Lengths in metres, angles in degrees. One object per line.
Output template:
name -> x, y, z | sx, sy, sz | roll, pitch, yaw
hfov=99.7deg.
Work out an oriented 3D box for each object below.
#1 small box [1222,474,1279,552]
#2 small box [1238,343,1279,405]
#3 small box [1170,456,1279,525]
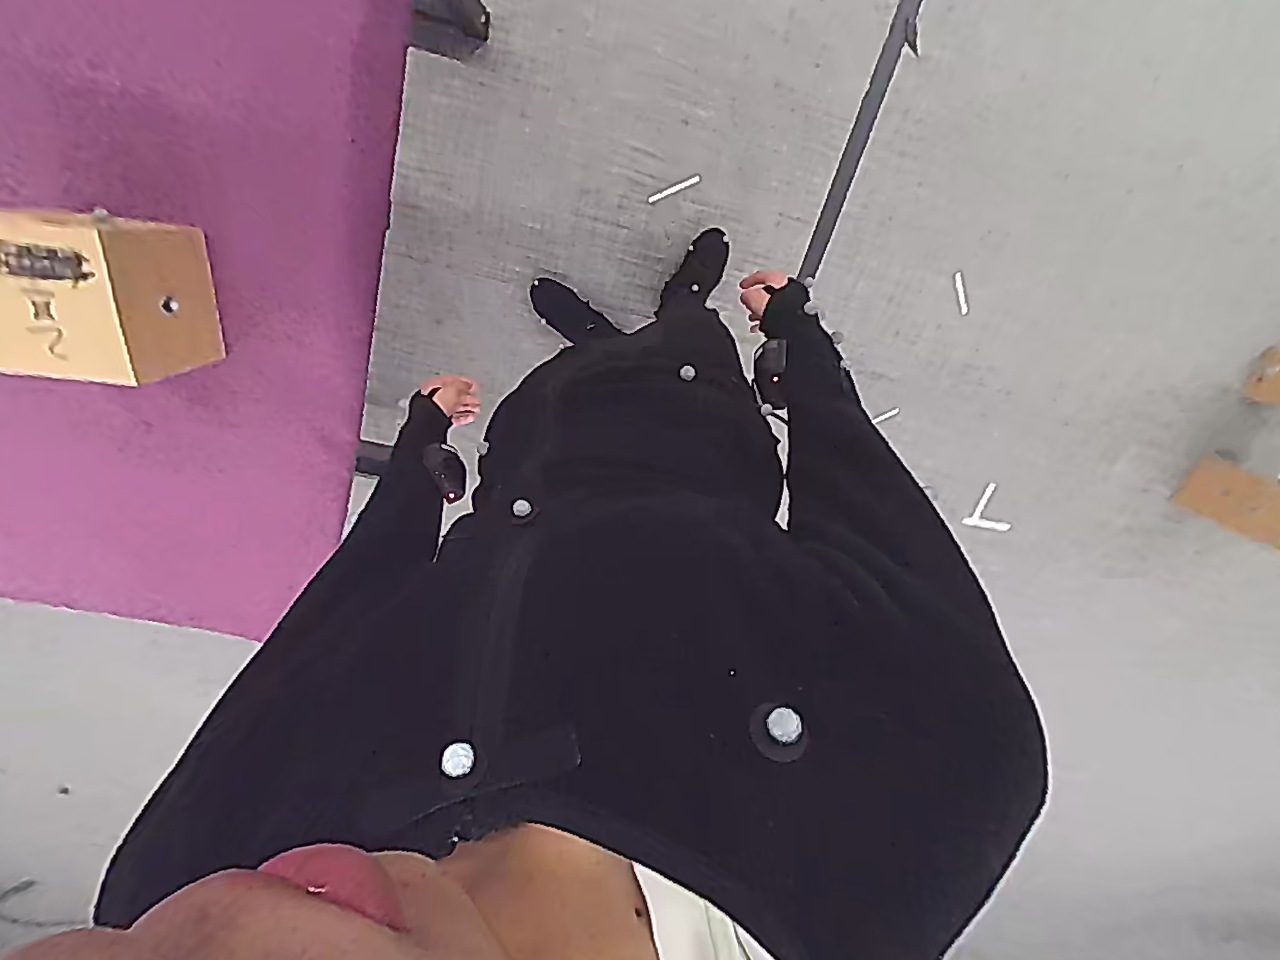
small box -> 1.913, 0.109, 1.606 | 0.168, 0.176, 0.179 | 14, 114, -10
small box -> 1.974, -0.302, 1.605 | 0.179, 0.176, 0.168 | 7, 113, -6
small box -> 1.903, 0.041, 1.755 | 0.168, 0.176, 0.179 | 13, 114, -9
